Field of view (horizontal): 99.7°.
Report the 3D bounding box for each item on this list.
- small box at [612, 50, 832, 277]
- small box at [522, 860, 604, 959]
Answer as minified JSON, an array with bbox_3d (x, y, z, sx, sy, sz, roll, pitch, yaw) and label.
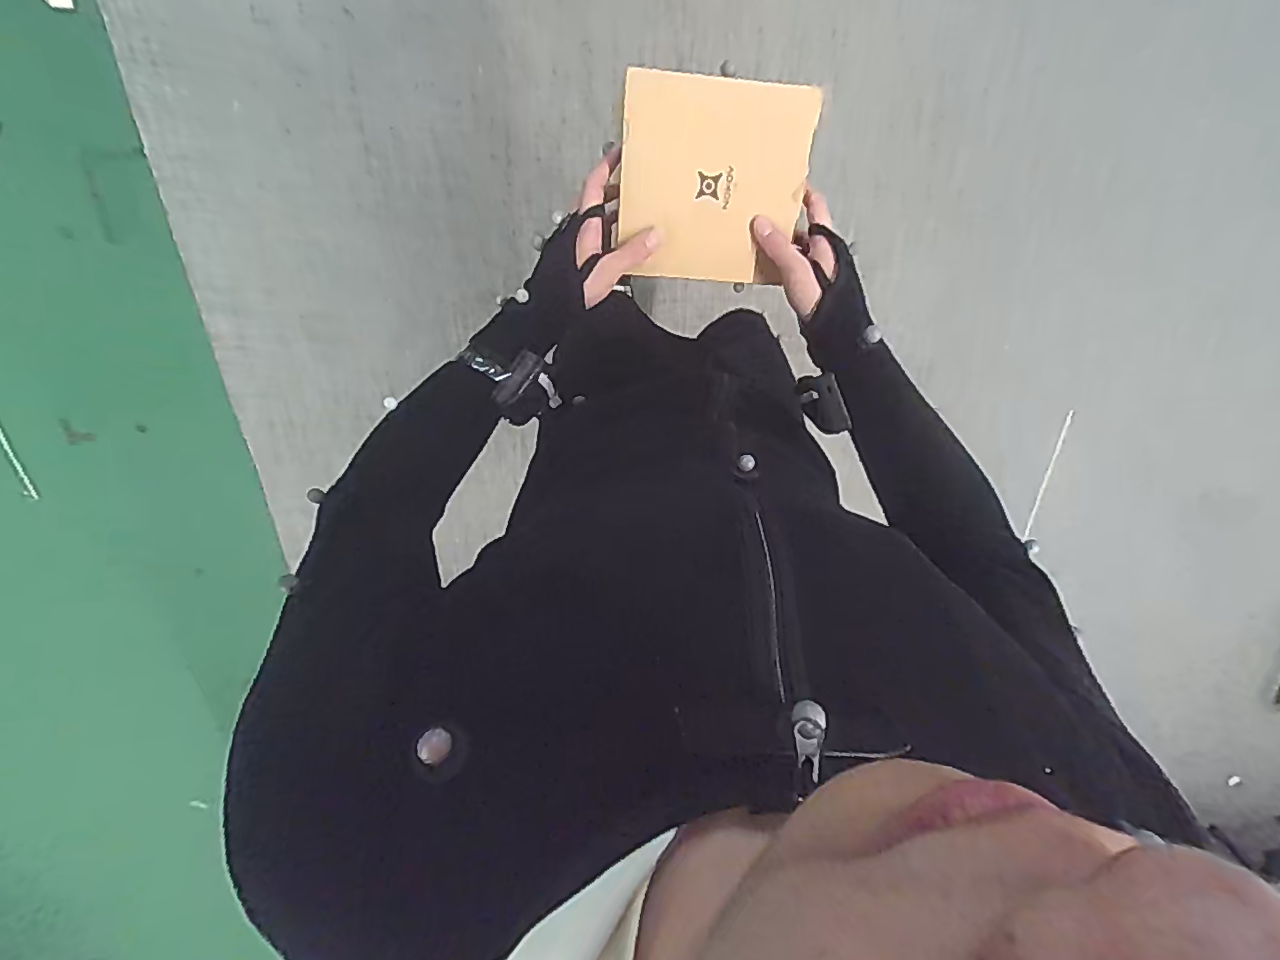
[{"bbox_3d":[0.064,-0.316,0.558,0.179,0.176,0.168,2,120,-7],"label":"small box"},{"bbox_3d":[-0.184,1.050,1.307,0.179,0.176,0.168,5,117,-8],"label":"small box"}]
